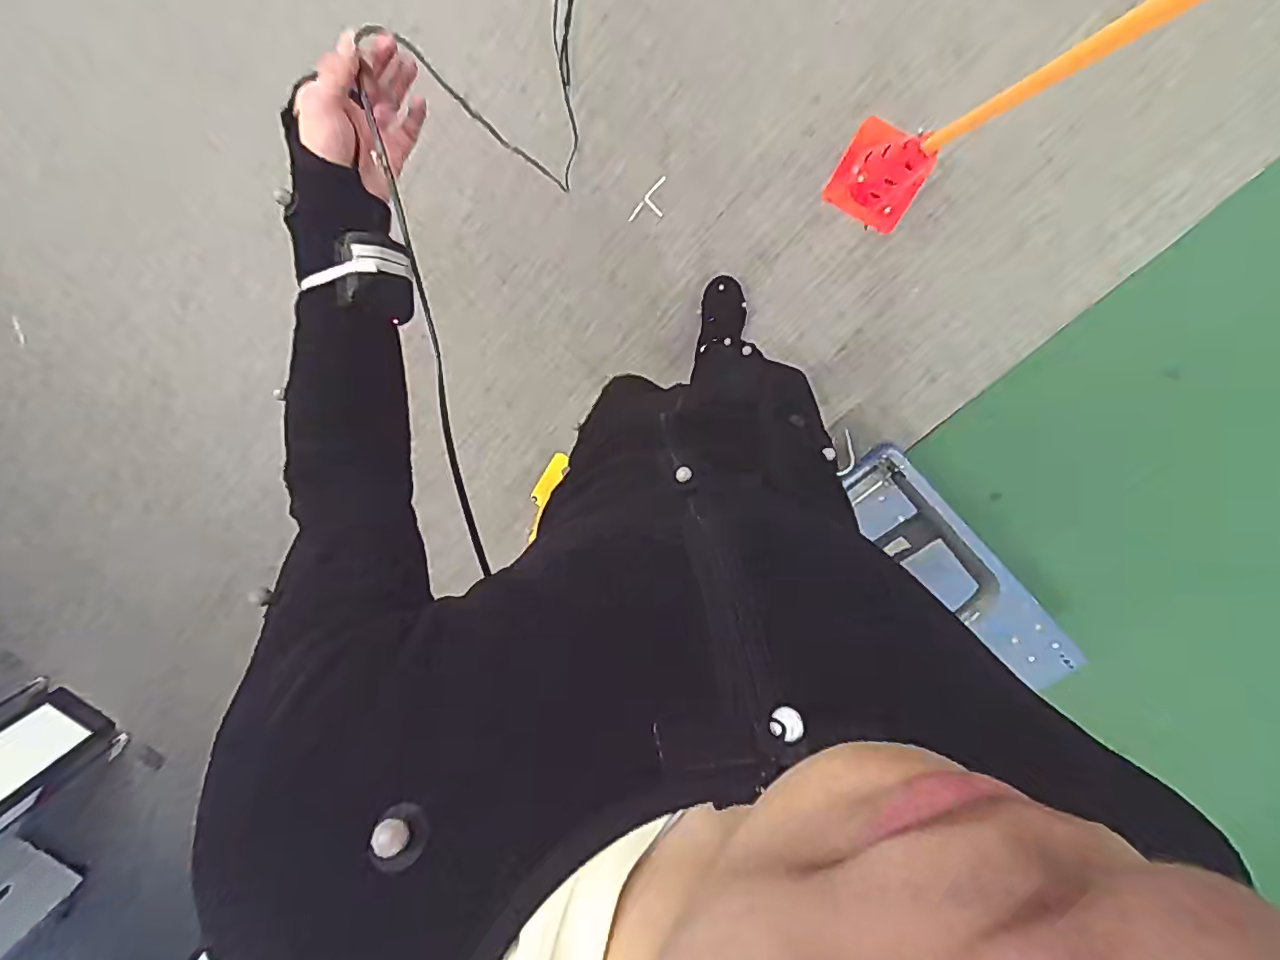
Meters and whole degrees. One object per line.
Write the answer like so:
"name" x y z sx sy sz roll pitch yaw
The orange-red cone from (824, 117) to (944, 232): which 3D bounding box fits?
"orange-red cone" 0.552 -0.673 1.141 0.198 0.360 0.199 29 111 -4
